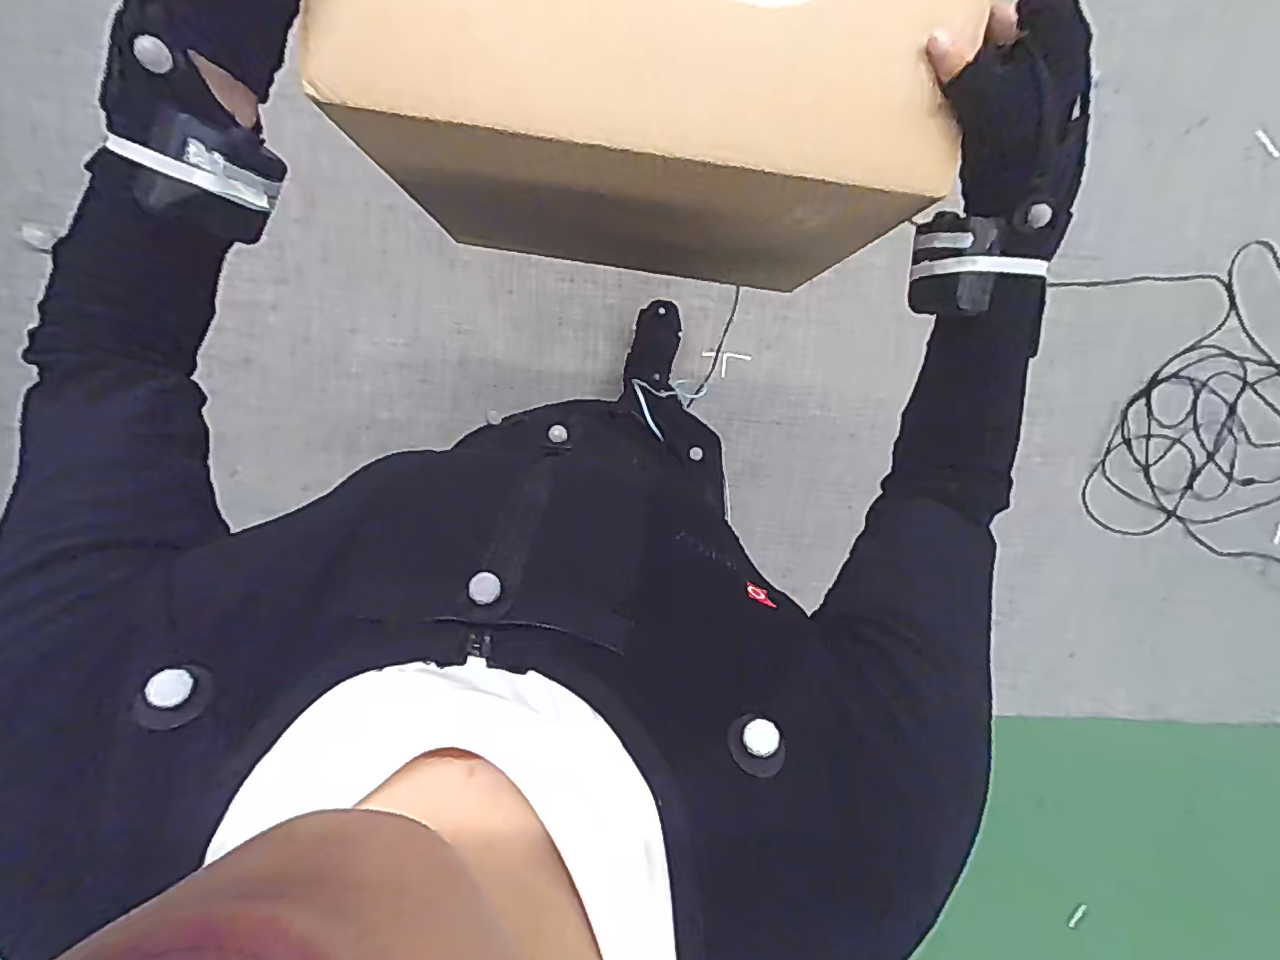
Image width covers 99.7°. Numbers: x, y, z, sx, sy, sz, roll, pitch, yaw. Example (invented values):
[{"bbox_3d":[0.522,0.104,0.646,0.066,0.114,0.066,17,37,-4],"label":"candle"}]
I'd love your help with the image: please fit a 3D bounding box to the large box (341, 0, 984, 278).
[{"bbox_3d":[0.018,-0.389,0.472,0.408,0.320,0.320,6,99,-5],"label":"large box"}]
